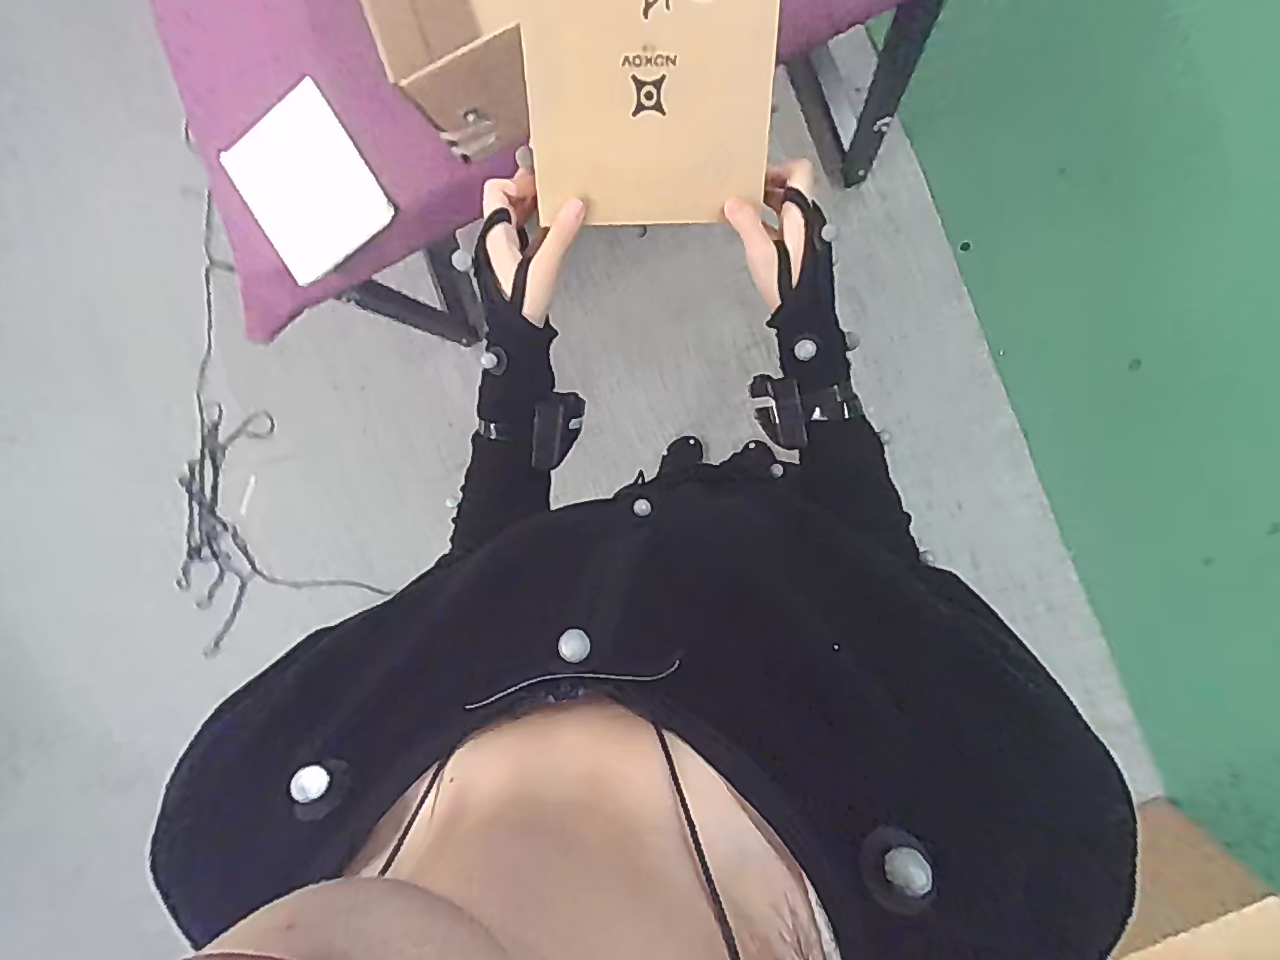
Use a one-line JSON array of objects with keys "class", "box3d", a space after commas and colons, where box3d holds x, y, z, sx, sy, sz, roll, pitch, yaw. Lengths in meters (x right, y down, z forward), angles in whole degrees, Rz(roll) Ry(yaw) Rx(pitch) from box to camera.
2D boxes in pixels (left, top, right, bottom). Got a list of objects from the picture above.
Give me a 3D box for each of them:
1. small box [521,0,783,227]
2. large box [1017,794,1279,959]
[{"class": "small box", "box3d": [0.005, -0.303, 0.424, 0.168, 0.176, 0.179, 0, 118, -2]}, {"class": "large box", "box3d": [1.185, 1.010, 1.209, 0.408, 0.320, 0.320, -35, 87, 9]}]
